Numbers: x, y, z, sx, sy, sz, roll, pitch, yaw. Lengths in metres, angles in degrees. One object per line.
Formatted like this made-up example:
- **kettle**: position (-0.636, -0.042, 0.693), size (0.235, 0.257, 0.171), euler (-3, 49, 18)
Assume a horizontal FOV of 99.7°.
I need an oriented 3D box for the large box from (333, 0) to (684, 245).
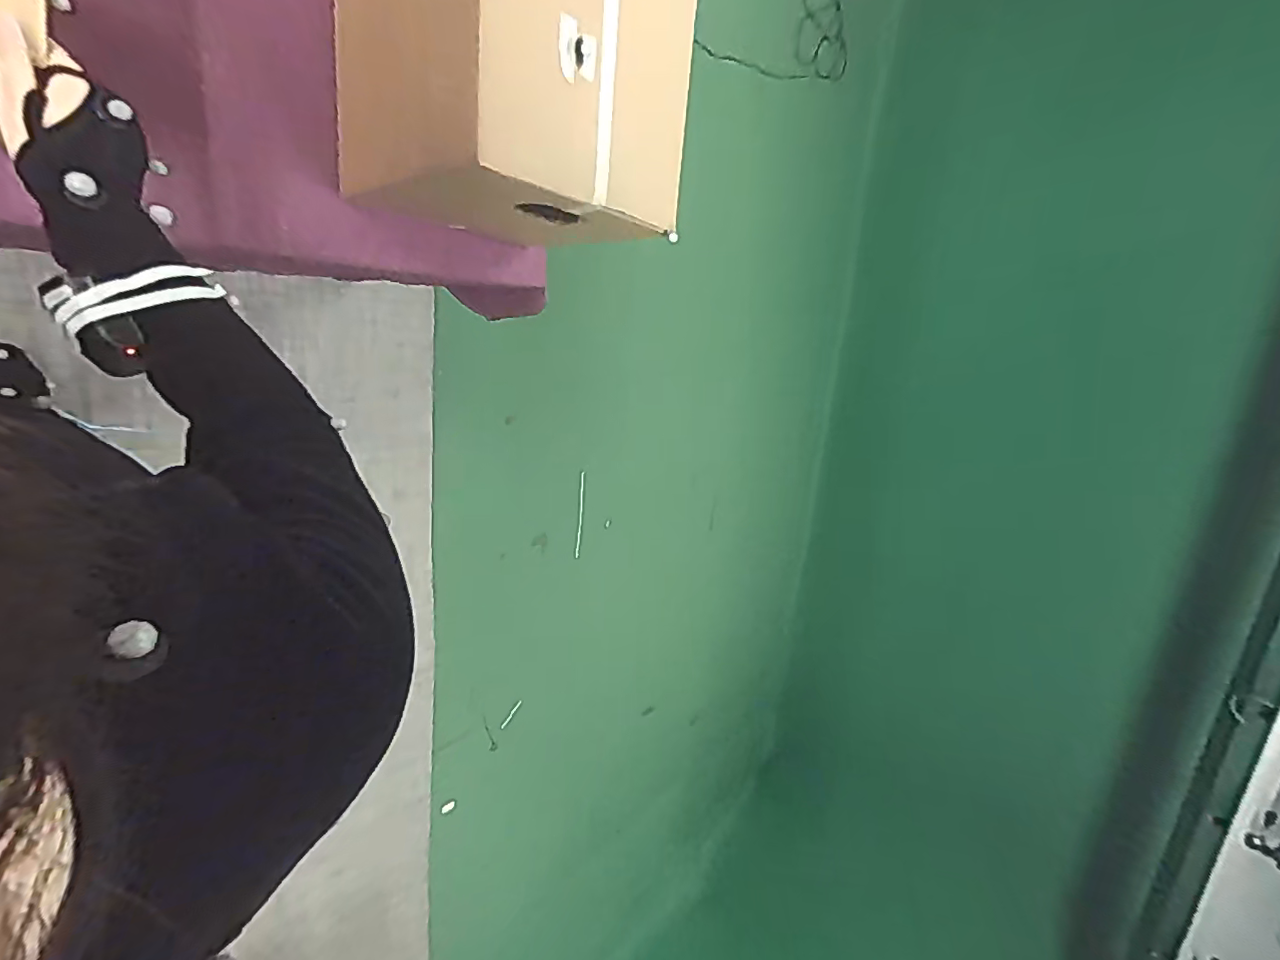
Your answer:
- **large box**: position (-0.162, -0.544, 0.682), size (0.320, 0.320, 0.408), euler (-11, 111, -50)
